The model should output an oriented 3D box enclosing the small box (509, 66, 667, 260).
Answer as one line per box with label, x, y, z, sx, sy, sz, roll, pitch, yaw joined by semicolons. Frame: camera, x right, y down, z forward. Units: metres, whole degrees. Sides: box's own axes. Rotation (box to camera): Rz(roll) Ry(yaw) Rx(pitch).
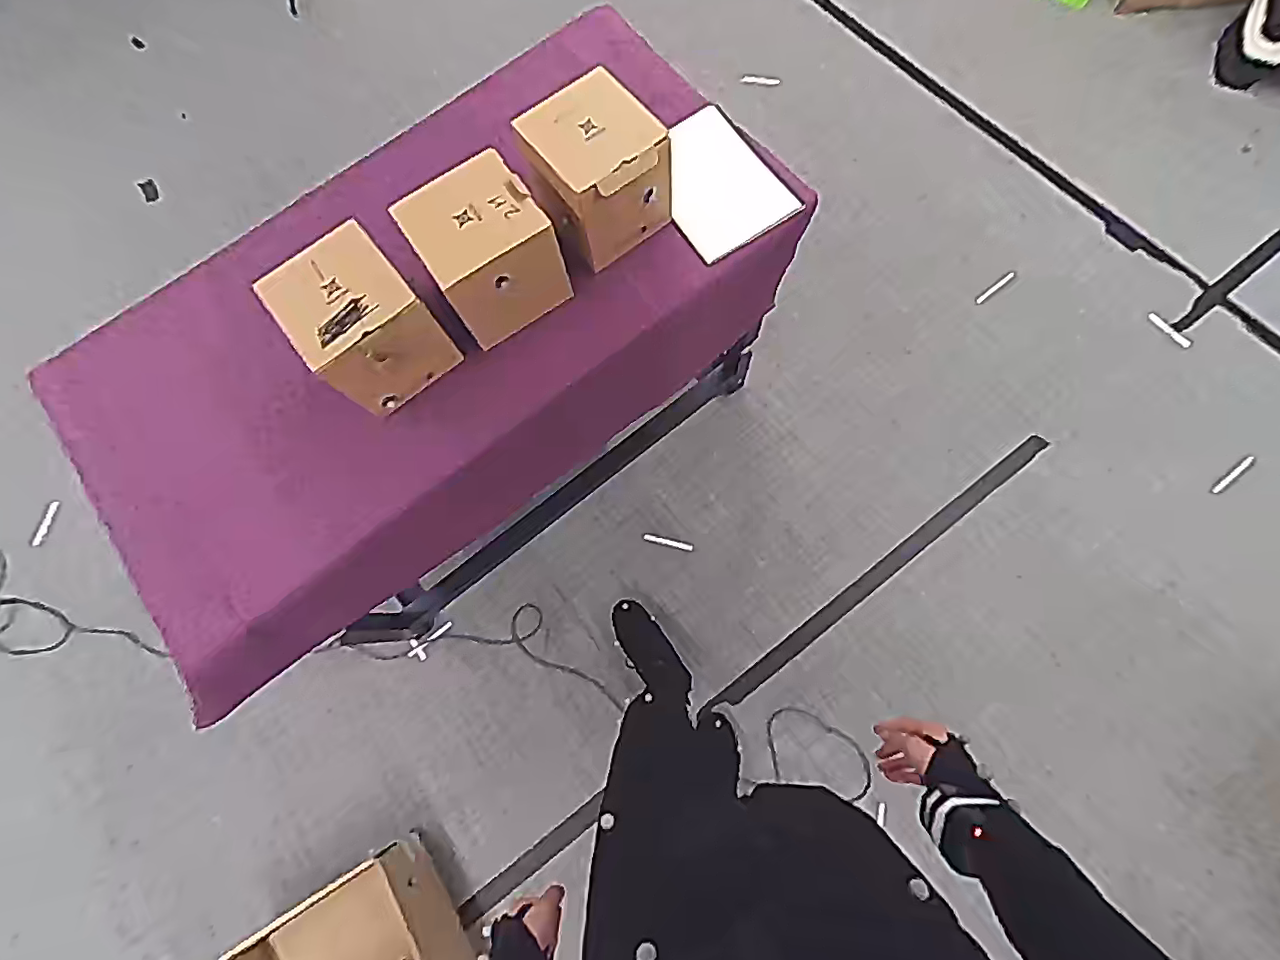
small box;-0.069;-0.476;0.843;0.168;0.176;0.179;-36;75;-7
